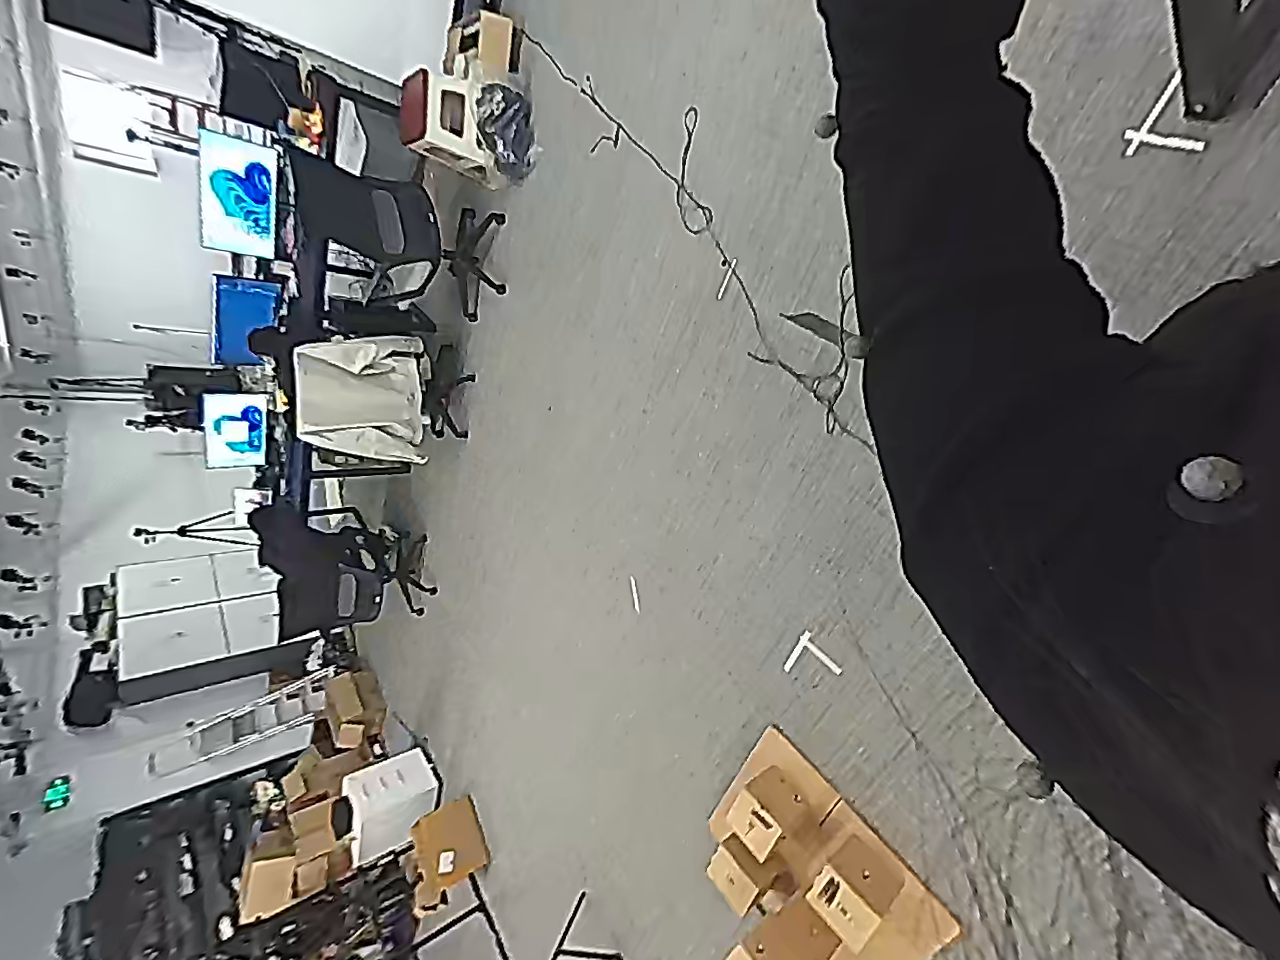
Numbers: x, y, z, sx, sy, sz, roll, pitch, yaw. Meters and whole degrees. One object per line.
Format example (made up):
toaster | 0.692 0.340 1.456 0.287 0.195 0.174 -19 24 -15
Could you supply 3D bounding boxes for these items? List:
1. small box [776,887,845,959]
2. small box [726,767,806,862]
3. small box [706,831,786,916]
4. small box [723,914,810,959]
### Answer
small box | 0.515 1.455 1.714 0.179 0.176 0.168 36 119 38
small box | 0.420 1.093 1.780 0.168 0.176 0.179 38 120 38
small box | 0.366 1.334 1.868 0.179 0.176 0.168 36 120 38
small box | 0.379 1.454 1.617 0.179 0.176 0.168 41 123 37
